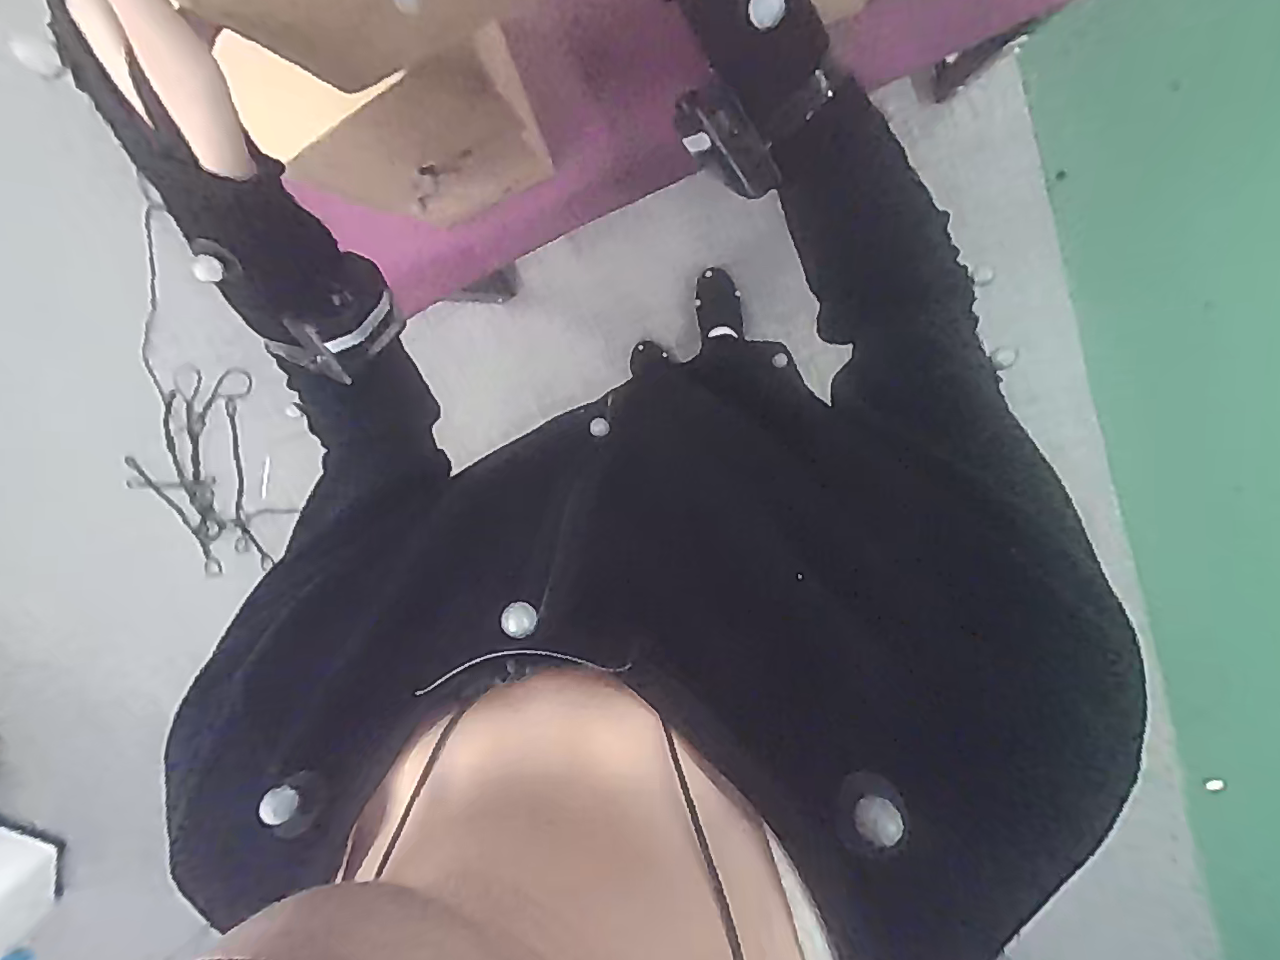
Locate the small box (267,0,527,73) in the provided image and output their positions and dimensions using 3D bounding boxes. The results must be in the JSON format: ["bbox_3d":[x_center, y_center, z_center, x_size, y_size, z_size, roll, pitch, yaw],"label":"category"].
[{"bbox_3d":[-0.115,-0.304,0.216,0.179,0.176,0.168,-23,116,5],"label":"small box"}]

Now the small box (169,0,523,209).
[{"bbox_3d":[-0.220,-0.348,0.426,0.168,0.176,0.179,-25,102,12],"label":"small box"}]

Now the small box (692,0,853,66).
[{"bbox_3d":[0.126,-0.542,0.509,0.179,0.176,0.168,-19,103,9],"label":"small box"}]
